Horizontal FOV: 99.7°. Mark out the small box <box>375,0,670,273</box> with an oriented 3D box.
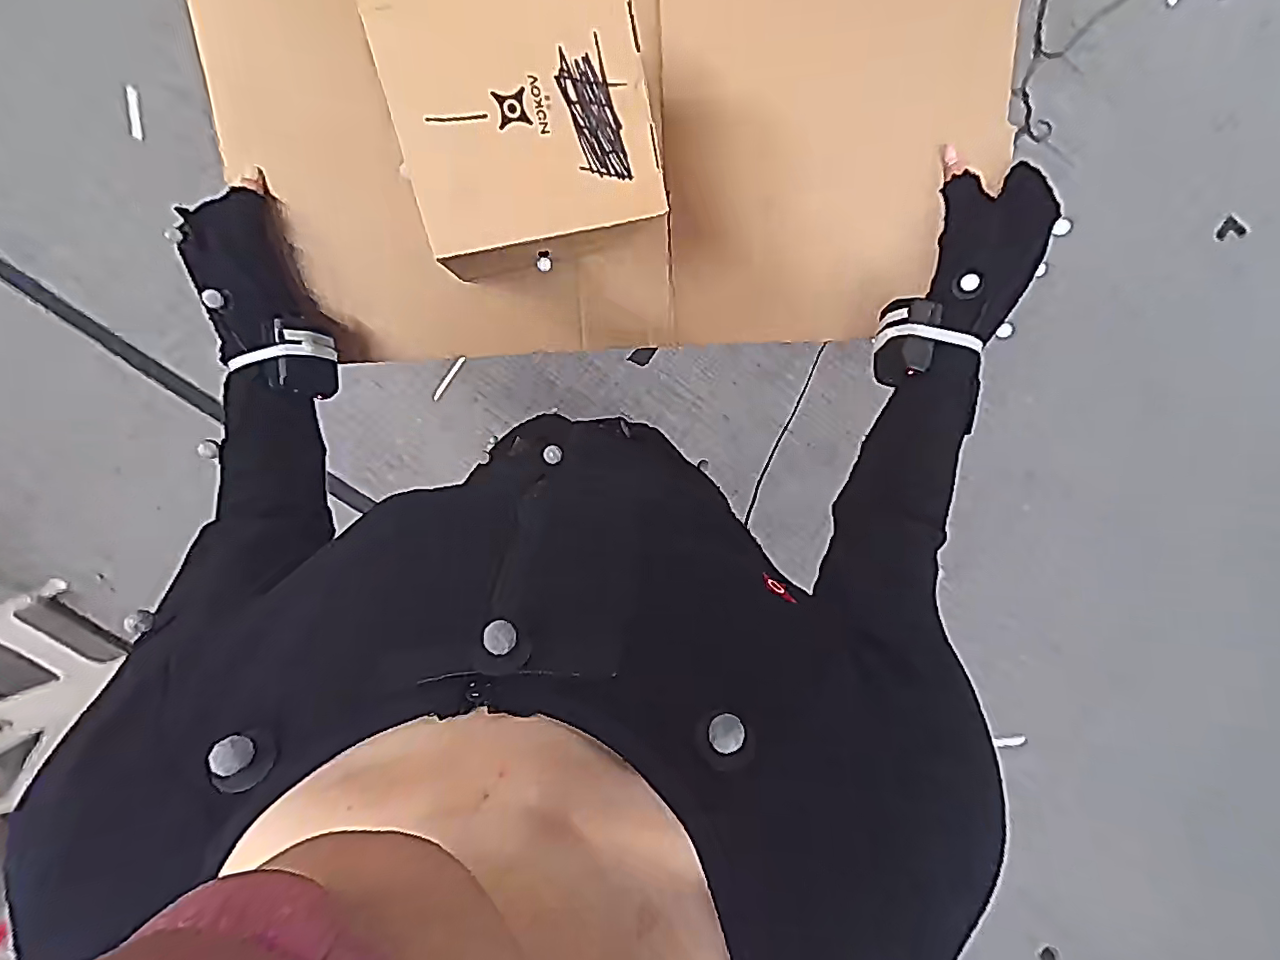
[{"bbox_3d":[-0.089,-0.279,0.454,0.179,0.176,0.168,-14,107,-7],"label":"small box"}]
